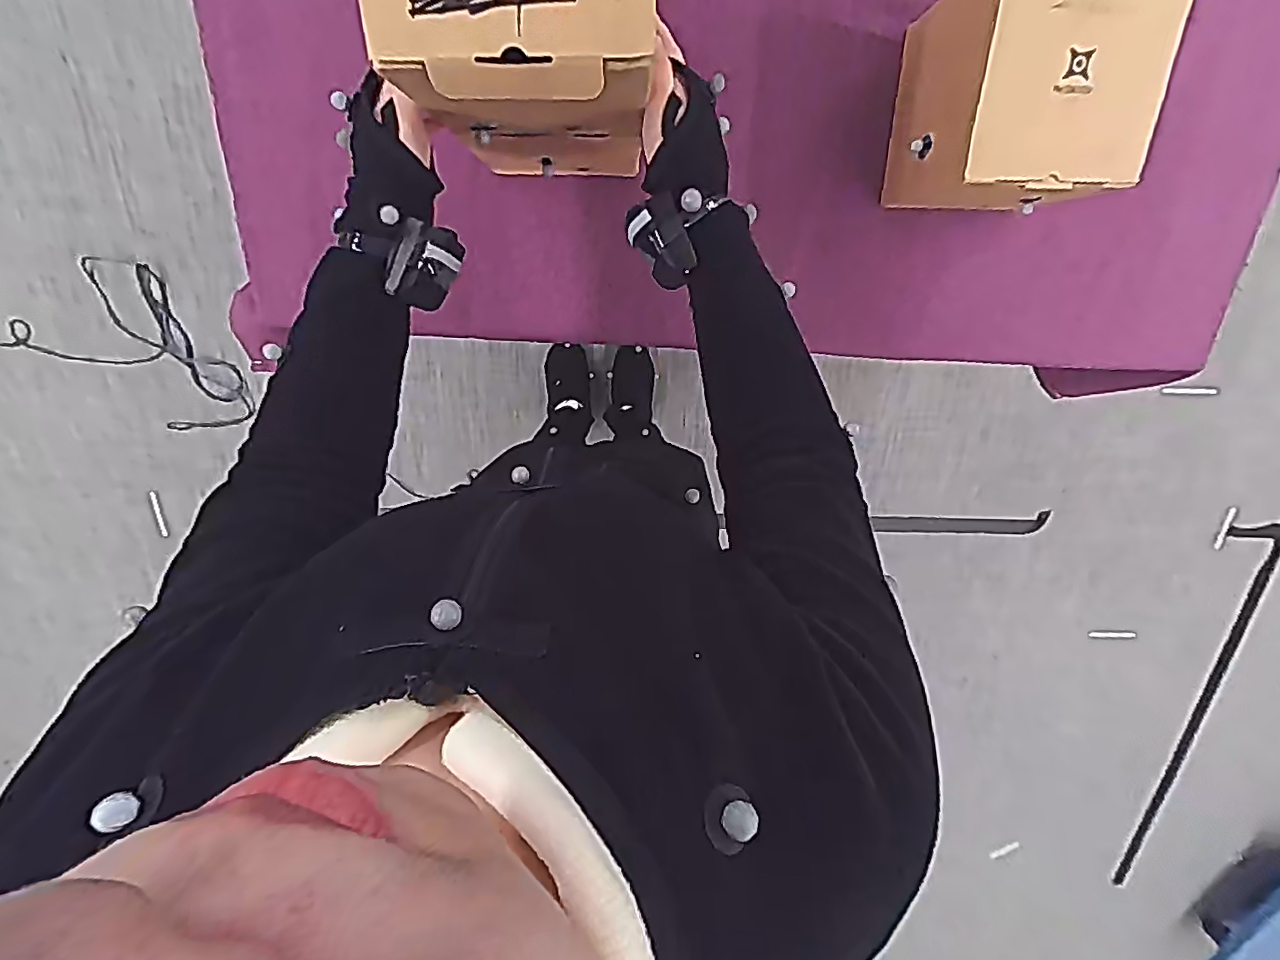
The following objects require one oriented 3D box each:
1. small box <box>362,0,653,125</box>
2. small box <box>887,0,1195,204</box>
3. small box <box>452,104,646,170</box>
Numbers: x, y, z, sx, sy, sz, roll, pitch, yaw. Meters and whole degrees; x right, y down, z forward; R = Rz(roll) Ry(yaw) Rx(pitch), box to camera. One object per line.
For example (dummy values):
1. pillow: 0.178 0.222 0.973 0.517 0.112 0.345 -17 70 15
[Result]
1. small box: -0.075 -0.350 0.354 0.168 0.176 0.179 -1 111 -2
2. small box: 0.368 -0.378 0.532 0.168 0.176 0.179 1 110 -2
3. small box: -0.079 -0.408 0.508 0.168 0.176 0.179 0 112 -2
